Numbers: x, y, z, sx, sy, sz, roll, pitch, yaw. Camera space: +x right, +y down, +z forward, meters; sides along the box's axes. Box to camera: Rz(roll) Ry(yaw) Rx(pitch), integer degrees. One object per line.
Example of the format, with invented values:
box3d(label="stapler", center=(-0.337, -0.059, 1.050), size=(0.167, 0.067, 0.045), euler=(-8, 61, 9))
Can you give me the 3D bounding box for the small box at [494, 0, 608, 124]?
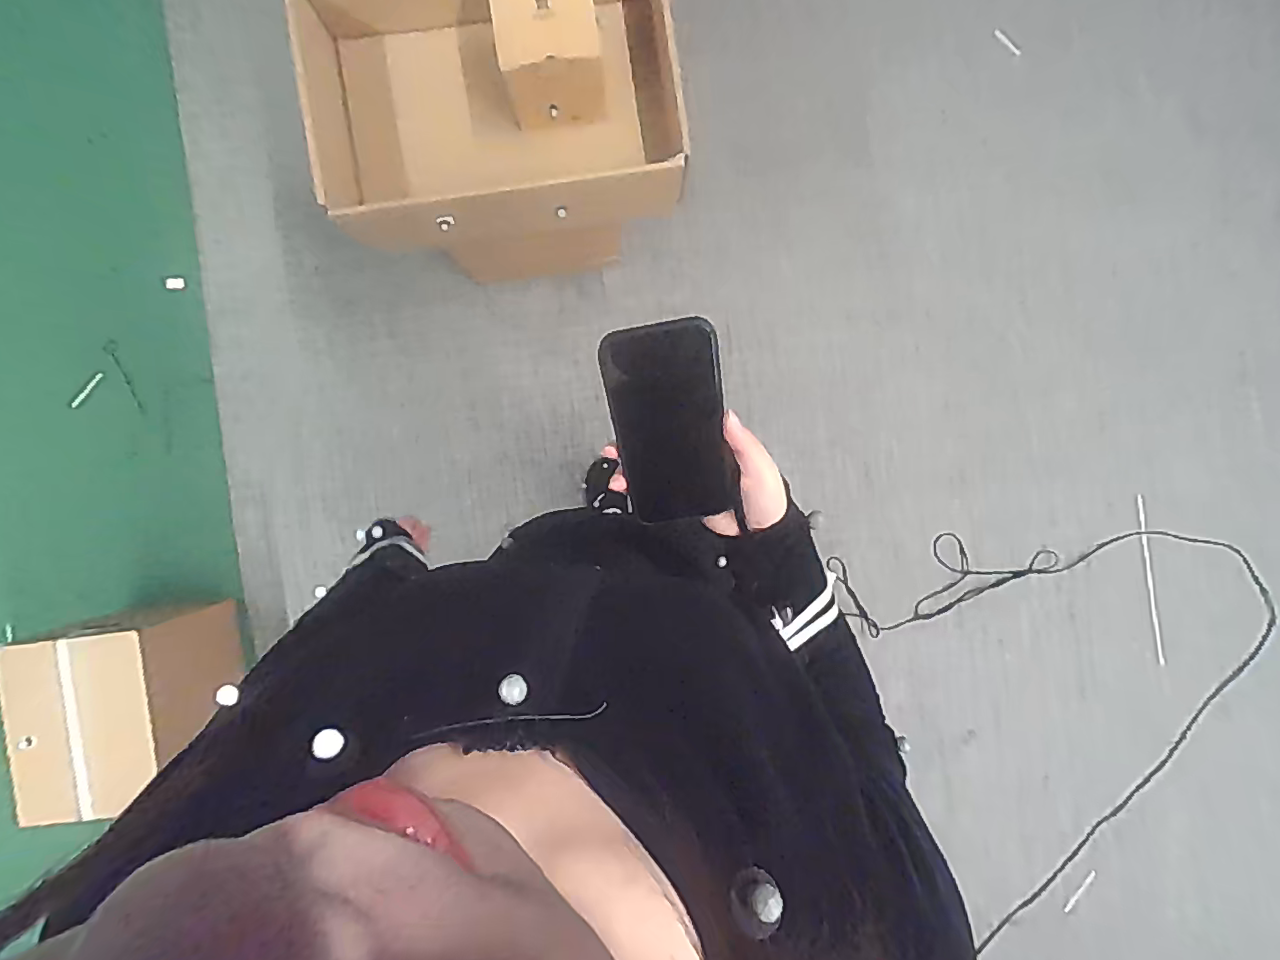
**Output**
box3d(label="small box", center=(-0.149, -0.757, 0.925), size=(0.168, 0.176, 0.179), euler=(-8, 93, 0))
